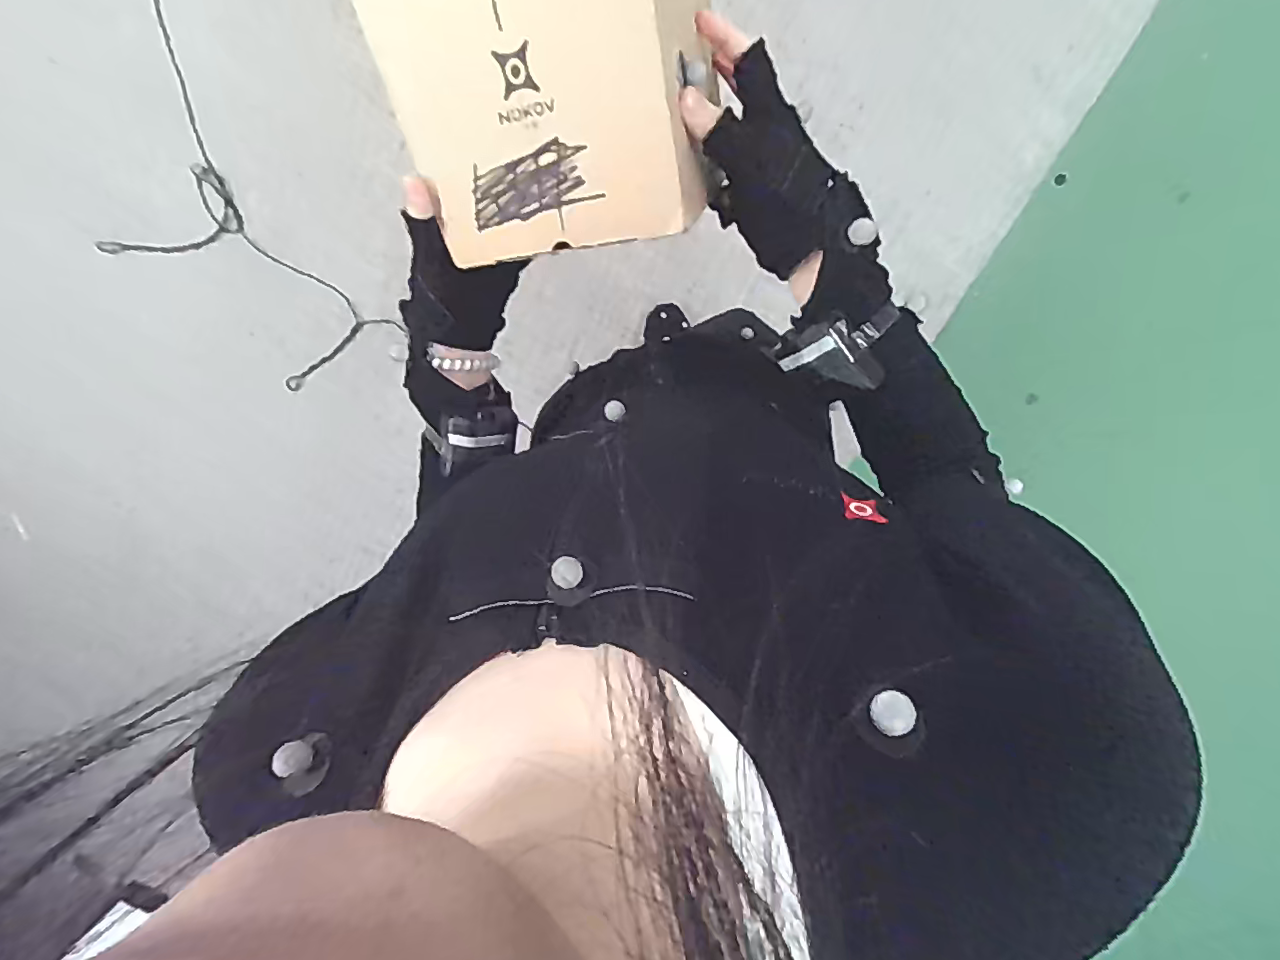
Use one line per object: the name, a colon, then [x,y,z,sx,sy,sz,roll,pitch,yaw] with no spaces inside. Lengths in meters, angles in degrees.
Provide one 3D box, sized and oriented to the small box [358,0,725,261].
small box: [-0.043,-0.269,0.357,0.168,0.176,0.179,0,128,20]
